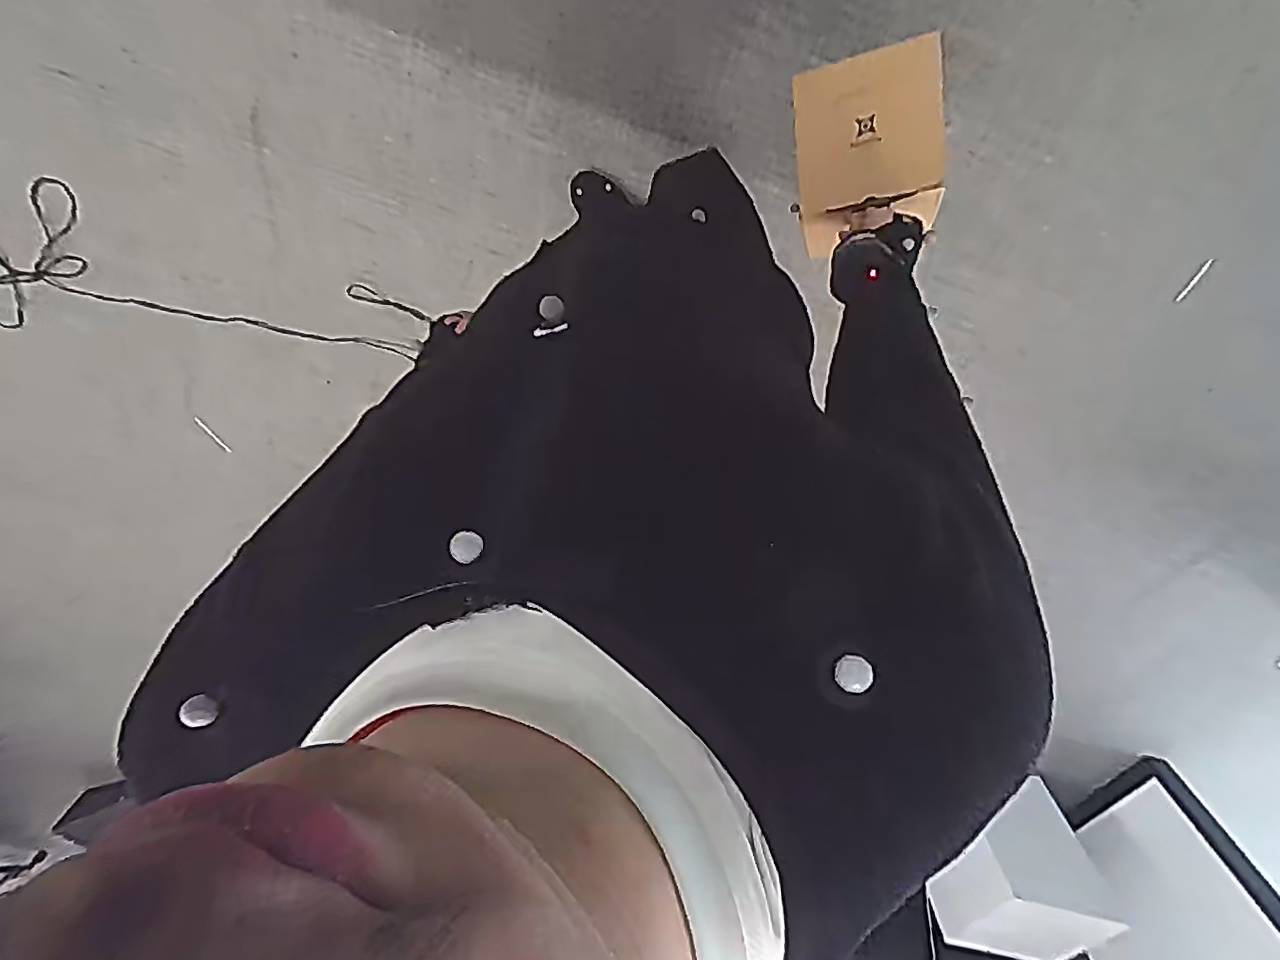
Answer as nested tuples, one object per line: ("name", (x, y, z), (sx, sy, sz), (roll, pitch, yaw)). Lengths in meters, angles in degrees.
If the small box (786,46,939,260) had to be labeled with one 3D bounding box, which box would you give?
("small box", (0.291, -0.411, 0.722), (0.168, 0.176, 0.179), (-4, 92, 20))
